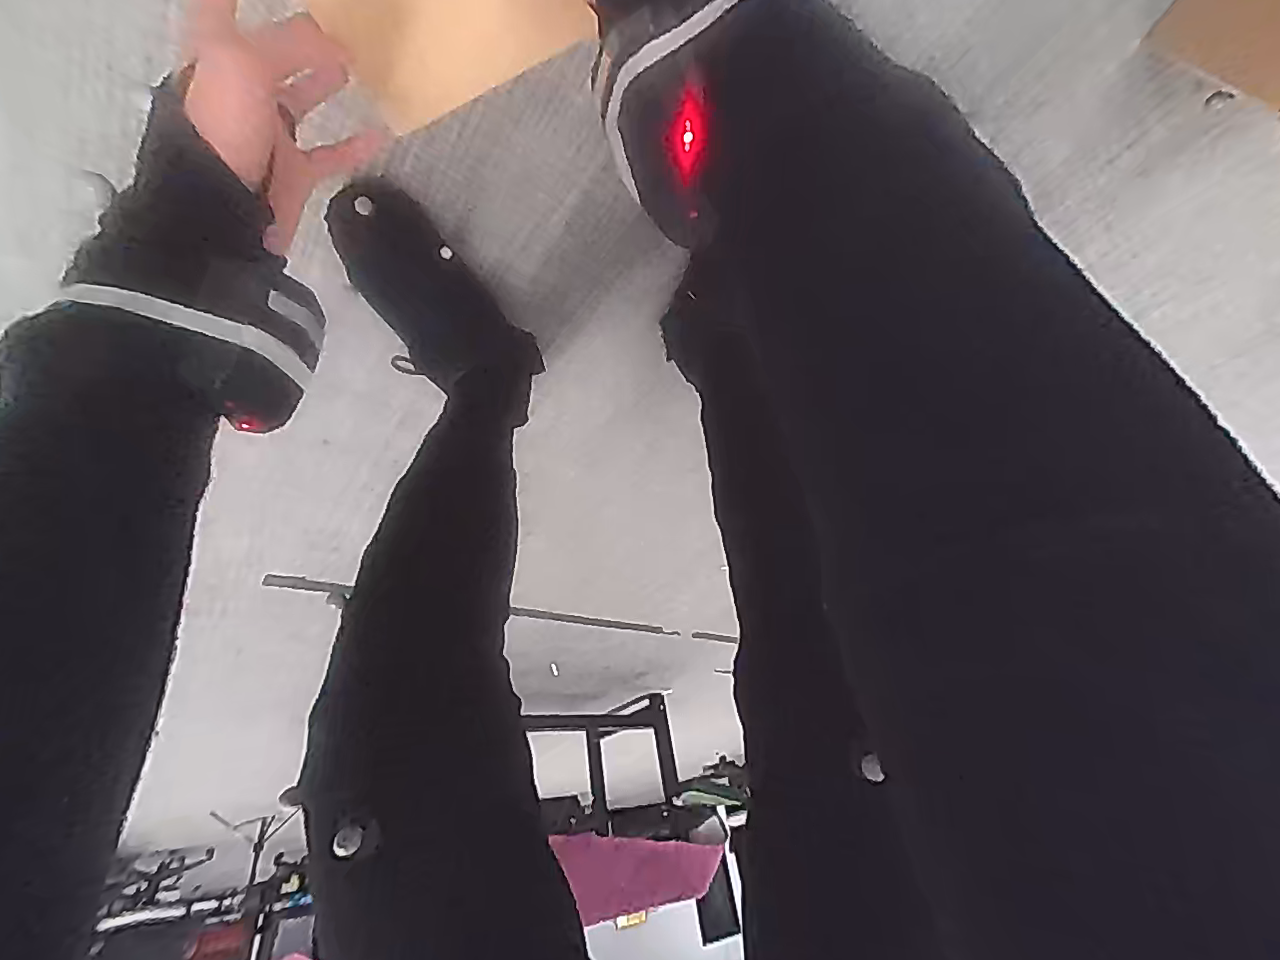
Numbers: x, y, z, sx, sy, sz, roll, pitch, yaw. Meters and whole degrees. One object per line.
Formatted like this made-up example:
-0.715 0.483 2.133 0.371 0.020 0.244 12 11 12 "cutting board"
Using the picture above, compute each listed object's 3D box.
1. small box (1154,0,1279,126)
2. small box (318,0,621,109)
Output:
0.608 -0.409 0.448 0.168 0.176 0.179 5 144 -22 "small box"
-0.121 -0.368 0.307 0.168 0.176 0.179 -17 146 12 "small box"
